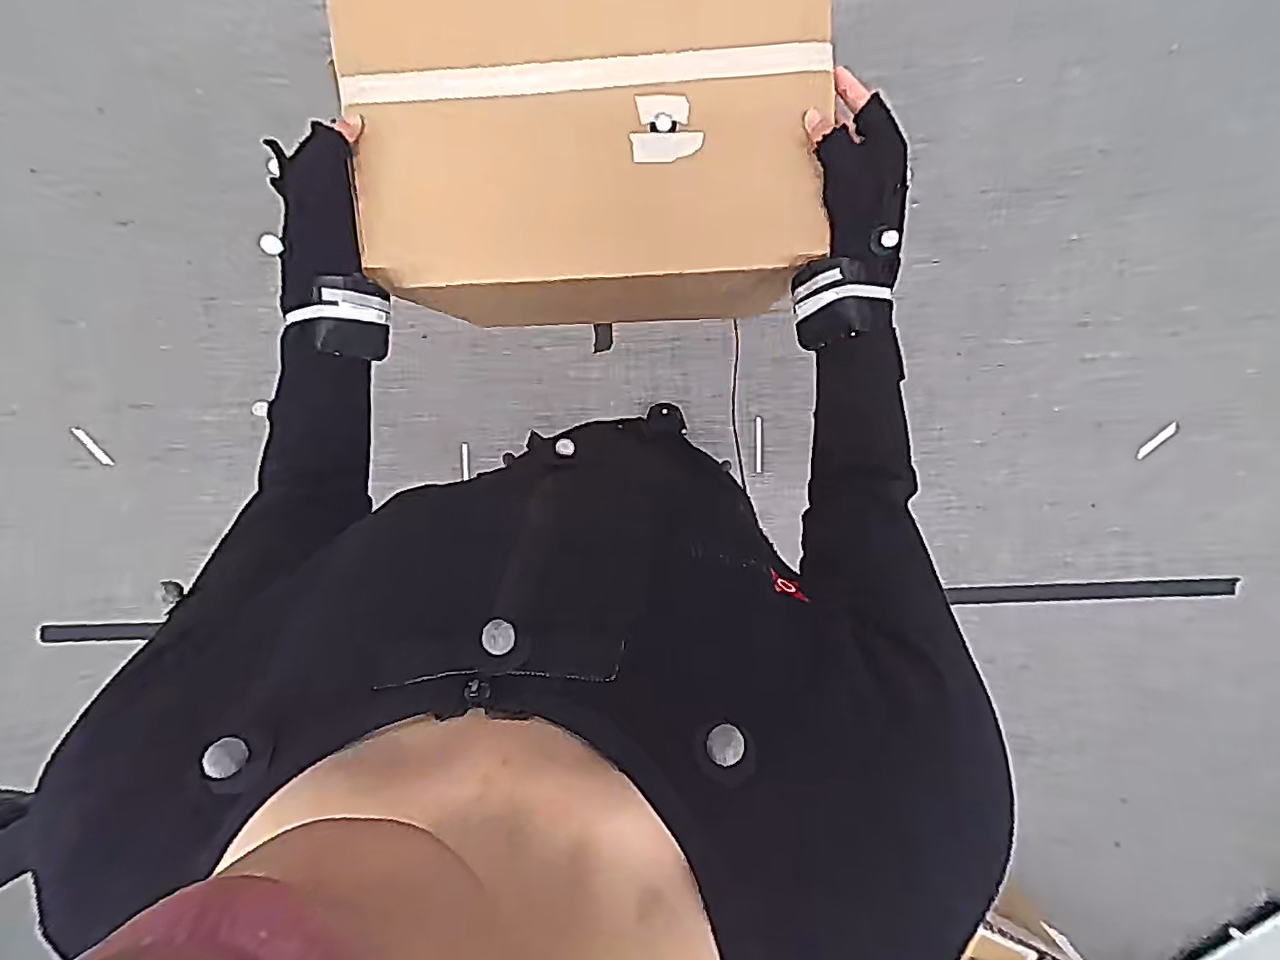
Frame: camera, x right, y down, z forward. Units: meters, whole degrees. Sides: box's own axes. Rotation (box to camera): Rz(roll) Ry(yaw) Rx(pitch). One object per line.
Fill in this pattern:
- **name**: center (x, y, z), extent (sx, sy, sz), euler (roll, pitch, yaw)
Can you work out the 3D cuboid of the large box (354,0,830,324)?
- **large box**: center (-0.037, -0.362, 0.607), extent (0.408, 0.320, 0.320), euler (-2, 100, 2)
